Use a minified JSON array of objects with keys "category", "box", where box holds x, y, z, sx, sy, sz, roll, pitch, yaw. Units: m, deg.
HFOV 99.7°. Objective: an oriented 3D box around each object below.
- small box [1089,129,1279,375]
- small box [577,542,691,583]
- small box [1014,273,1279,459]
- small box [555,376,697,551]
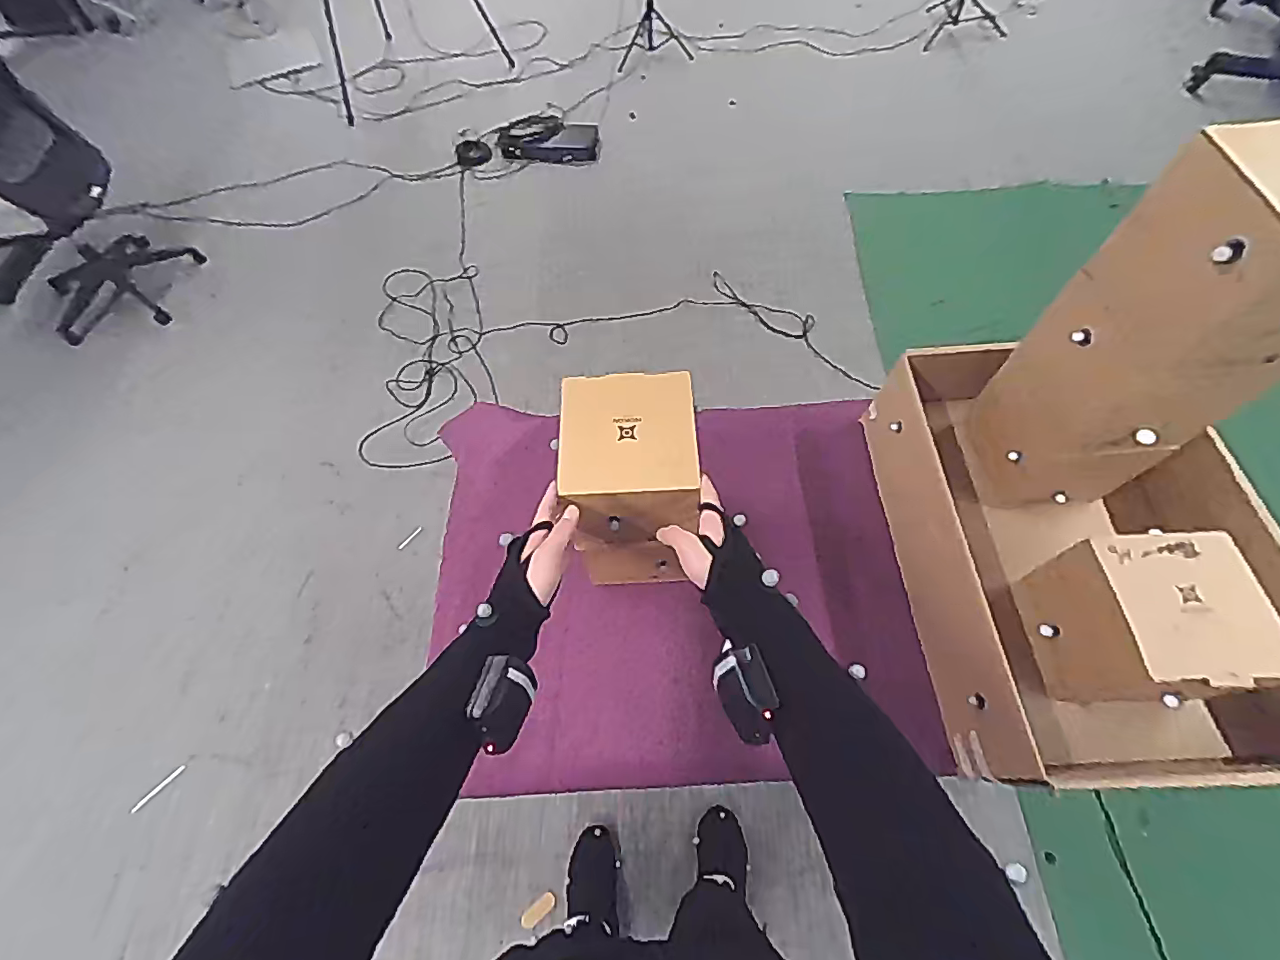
[{"category":"small box","box":[0.619,-0.220,0.546,0.168,0.176,0.179,-3,62,2]},{"category":"small box","box":[-0.005,0.061,0.864,0.168,0.176,0.179,-2,60,1]},{"category":"small box","box":[0.628,-0.146,0.694,0.168,0.176,0.179,-5,62,2]},{"category":"small box","box":[-0.013,-0.013,0.718,0.168,0.176,0.179,-3,59,1]}]
